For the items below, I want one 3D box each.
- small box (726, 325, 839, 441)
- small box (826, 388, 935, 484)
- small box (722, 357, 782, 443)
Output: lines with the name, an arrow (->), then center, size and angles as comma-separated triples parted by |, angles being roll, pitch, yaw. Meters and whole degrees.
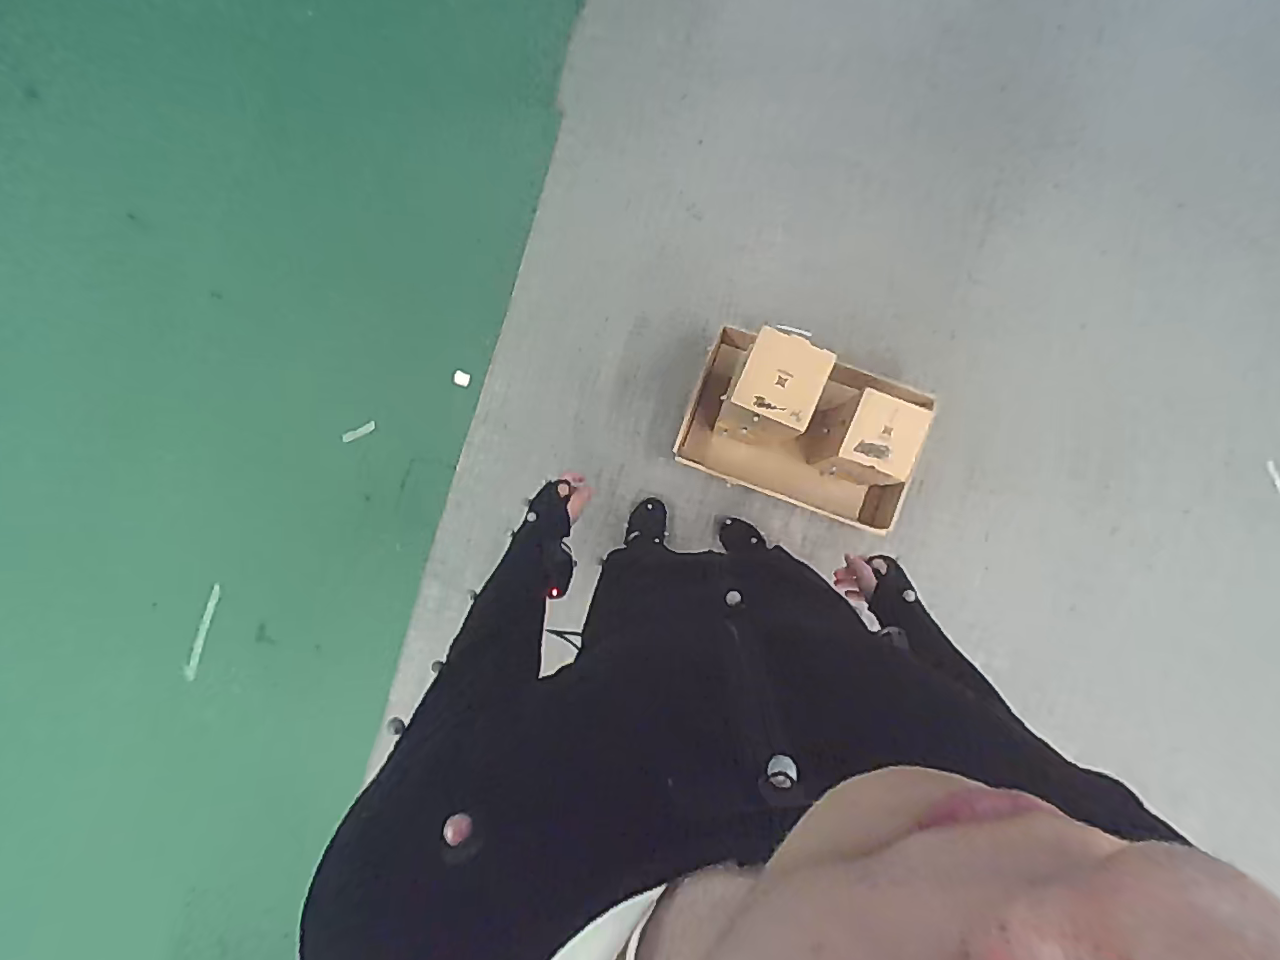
small box -> 0.296, -0.200, 1.166 | 0.168, 0.176, 0.179 | 24, 88, 3
small box -> 0.570, -0.097, 1.308 | 0.168, 0.176, 0.179 | 23, 88, 6
small box -> 0.309, -0.203, 1.330 | 0.168, 0.176, 0.179 | 21, 89, 3
